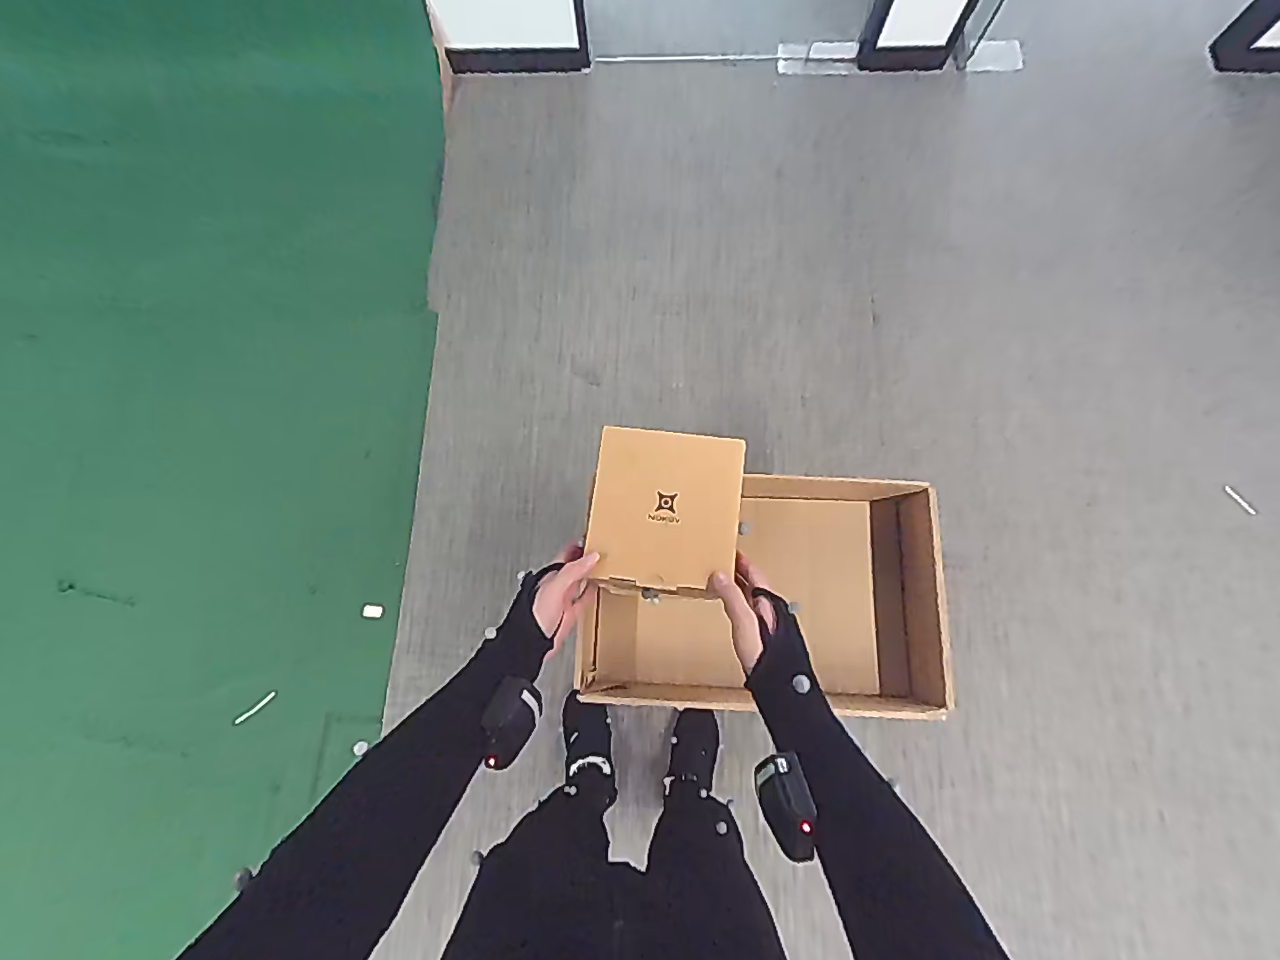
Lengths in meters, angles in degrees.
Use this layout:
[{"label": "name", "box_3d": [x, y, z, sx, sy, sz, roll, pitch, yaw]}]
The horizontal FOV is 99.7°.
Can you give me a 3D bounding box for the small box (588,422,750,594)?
[{"label": "small box", "box_3d": [0.035, 0.044, 0.678, 0.168, 0.176, 0.179, 7, 77, 3]}]
